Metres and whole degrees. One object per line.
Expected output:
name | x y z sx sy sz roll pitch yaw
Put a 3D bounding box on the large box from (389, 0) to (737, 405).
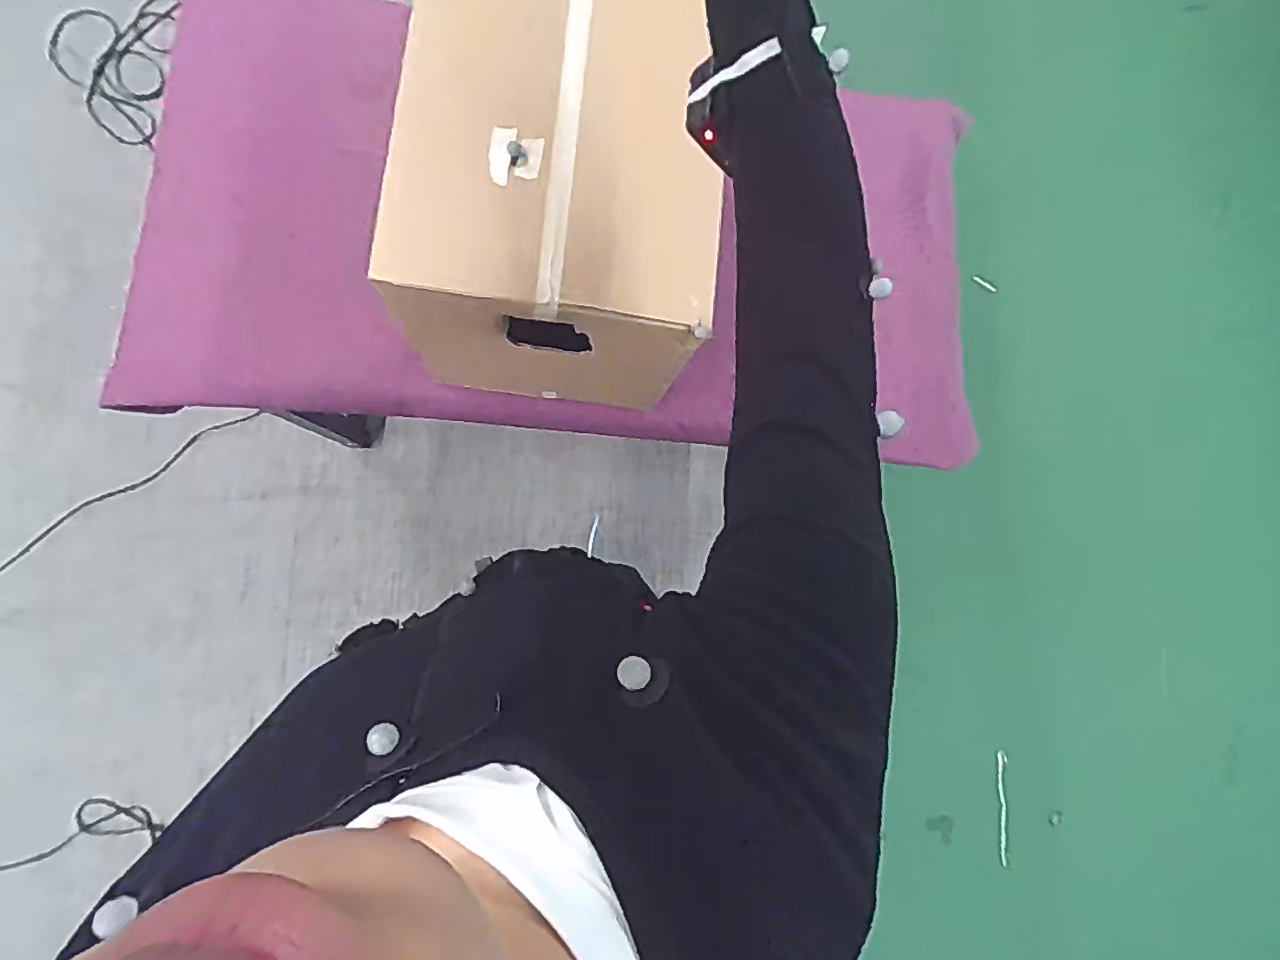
large box | -0.087 -0.341 0.681 0.320 0.320 0.408 7 83 -8
